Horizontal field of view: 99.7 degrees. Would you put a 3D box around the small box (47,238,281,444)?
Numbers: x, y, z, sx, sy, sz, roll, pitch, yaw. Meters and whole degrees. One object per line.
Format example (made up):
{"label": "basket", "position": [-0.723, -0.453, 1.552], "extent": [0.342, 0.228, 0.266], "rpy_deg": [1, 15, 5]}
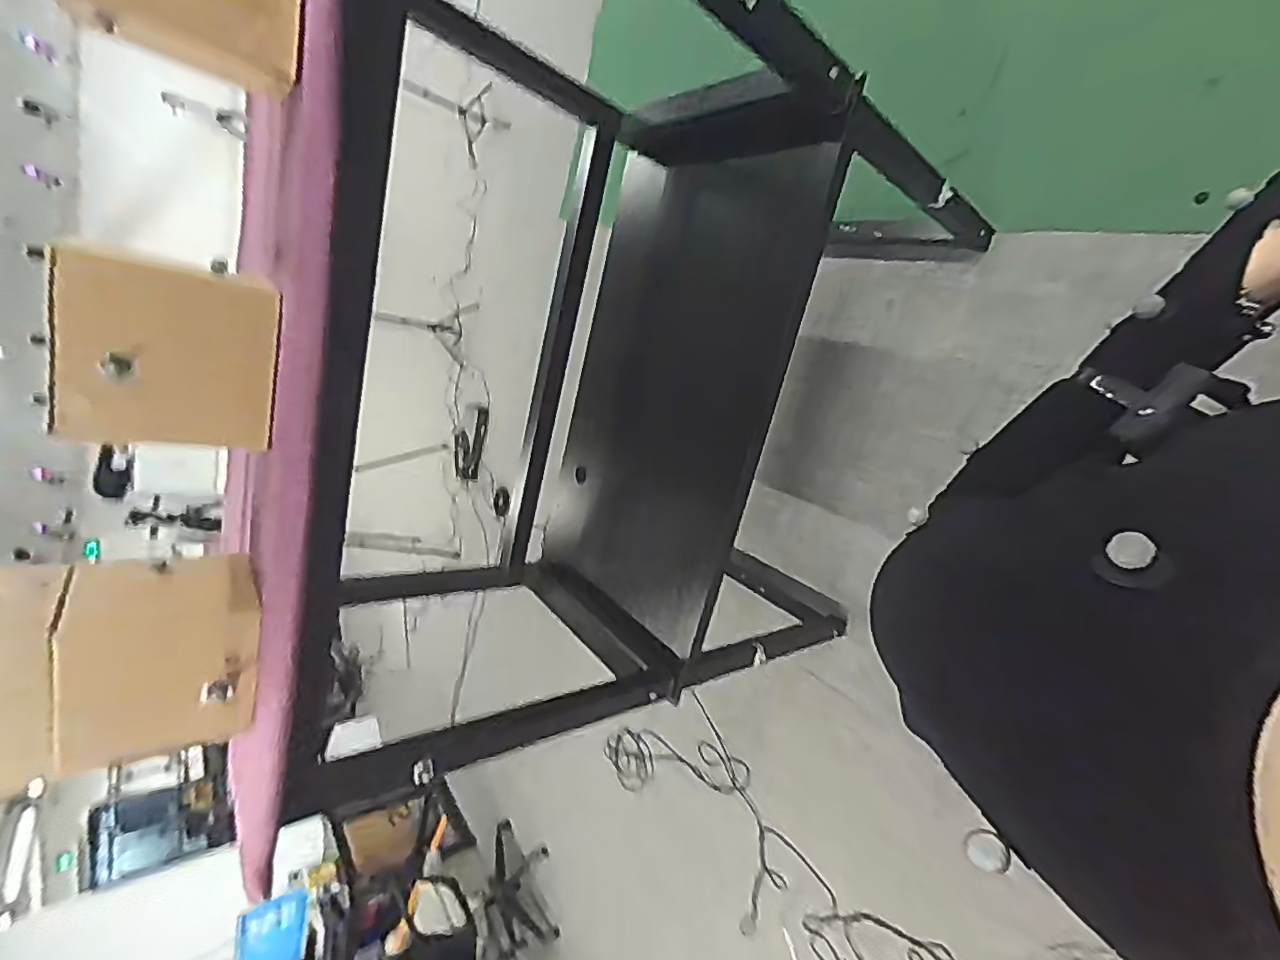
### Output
{"label": "small box", "position": [-0.499, -0.145, 0.586], "extent": [0.168, 0.176, 0.179], "rpy_deg": [30, 110, 47]}

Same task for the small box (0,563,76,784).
{"label": "small box", "position": [-0.686, 0.197, 0.538], "extent": [0.168, 0.176, 0.179], "rpy_deg": [23, 106, 47]}

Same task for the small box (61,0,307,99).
{"label": "small box", "position": [-0.409, -0.481, 0.494], "extent": [0.179, 0.176, 0.168], "rpy_deg": [34, 115, 47]}

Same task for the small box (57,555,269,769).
{"label": "small box", "position": [-0.559, 0.196, 0.644], "extent": [0.179, 0.176, 0.168], "rpy_deg": [23, 107, 46]}
